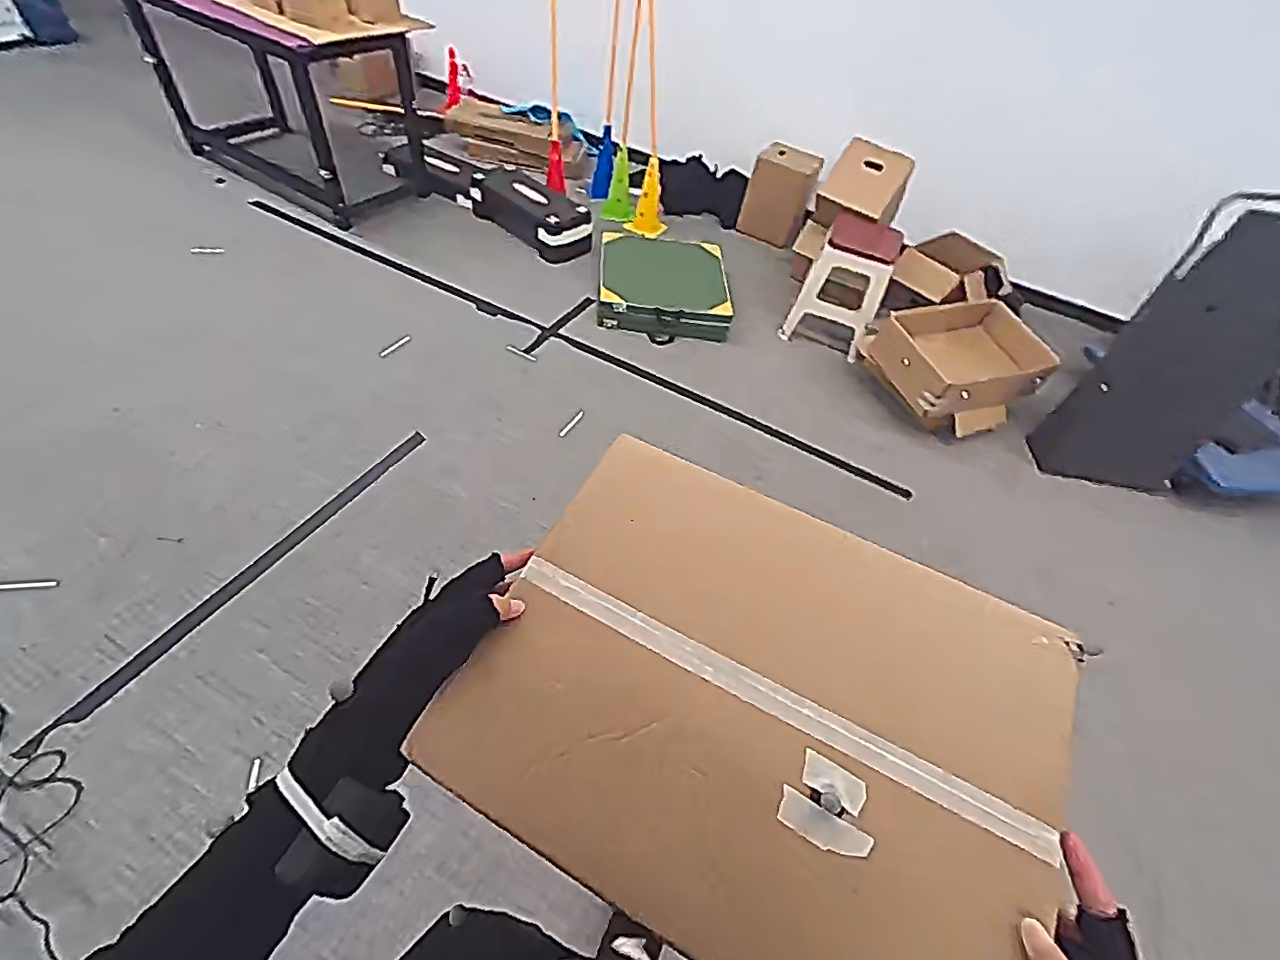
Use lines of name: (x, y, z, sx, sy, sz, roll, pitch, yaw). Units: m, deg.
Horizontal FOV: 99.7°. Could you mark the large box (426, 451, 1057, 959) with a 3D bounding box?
large box: (0.086, 0.238, 0.533, 0.408, 0.320, 0.320, 25, 61, 14)
